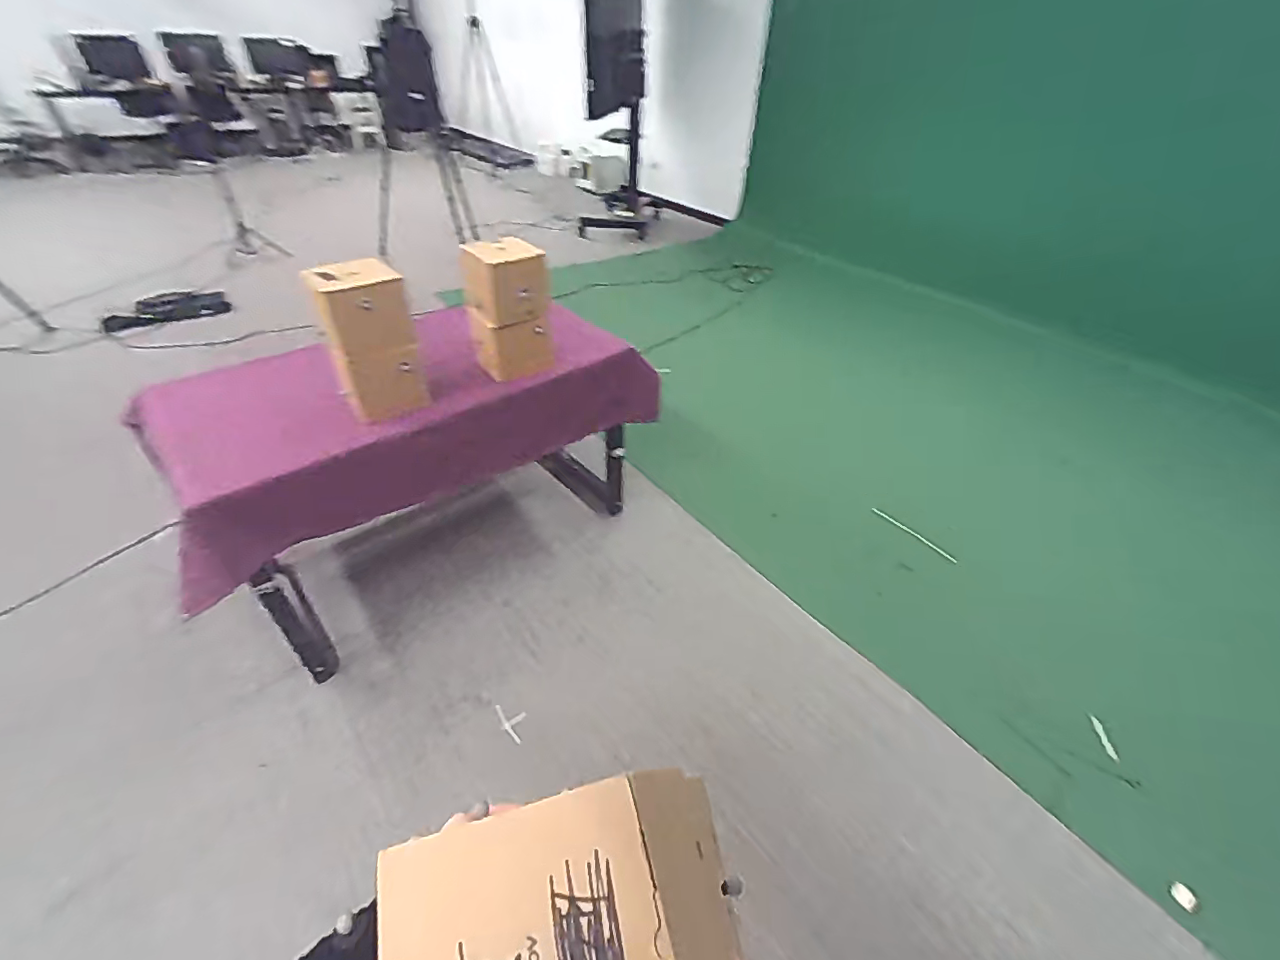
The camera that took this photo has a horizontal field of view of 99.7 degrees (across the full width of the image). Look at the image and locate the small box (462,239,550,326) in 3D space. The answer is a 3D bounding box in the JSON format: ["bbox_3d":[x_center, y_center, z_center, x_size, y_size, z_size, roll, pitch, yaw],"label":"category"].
[{"bbox_3d":[-0.355,-0.529,1.459,0.168,0.176,0.179,-25,48,-30],"label":"small box"}]

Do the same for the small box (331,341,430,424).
[{"bbox_3d":[-0.656,-0.270,1.386,0.179,0.176,0.168,-25,46,-30],"label":"small box"}]

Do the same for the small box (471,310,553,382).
[{"bbox_3d":[-0.363,-0.401,1.563,0.179,0.176,0.168,-22,46,-27],"label":"small box"}]

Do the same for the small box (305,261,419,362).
[{"bbox_3d":[-0.654,-0.400,1.285,0.179,0.176,0.168,-27,48,-32],"label":"small box"}]

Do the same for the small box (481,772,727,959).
[{"bbox_3d":[-0.028,0.386,0.512,0.179,0.176,0.168,-17,60,6],"label":"small box"}]
